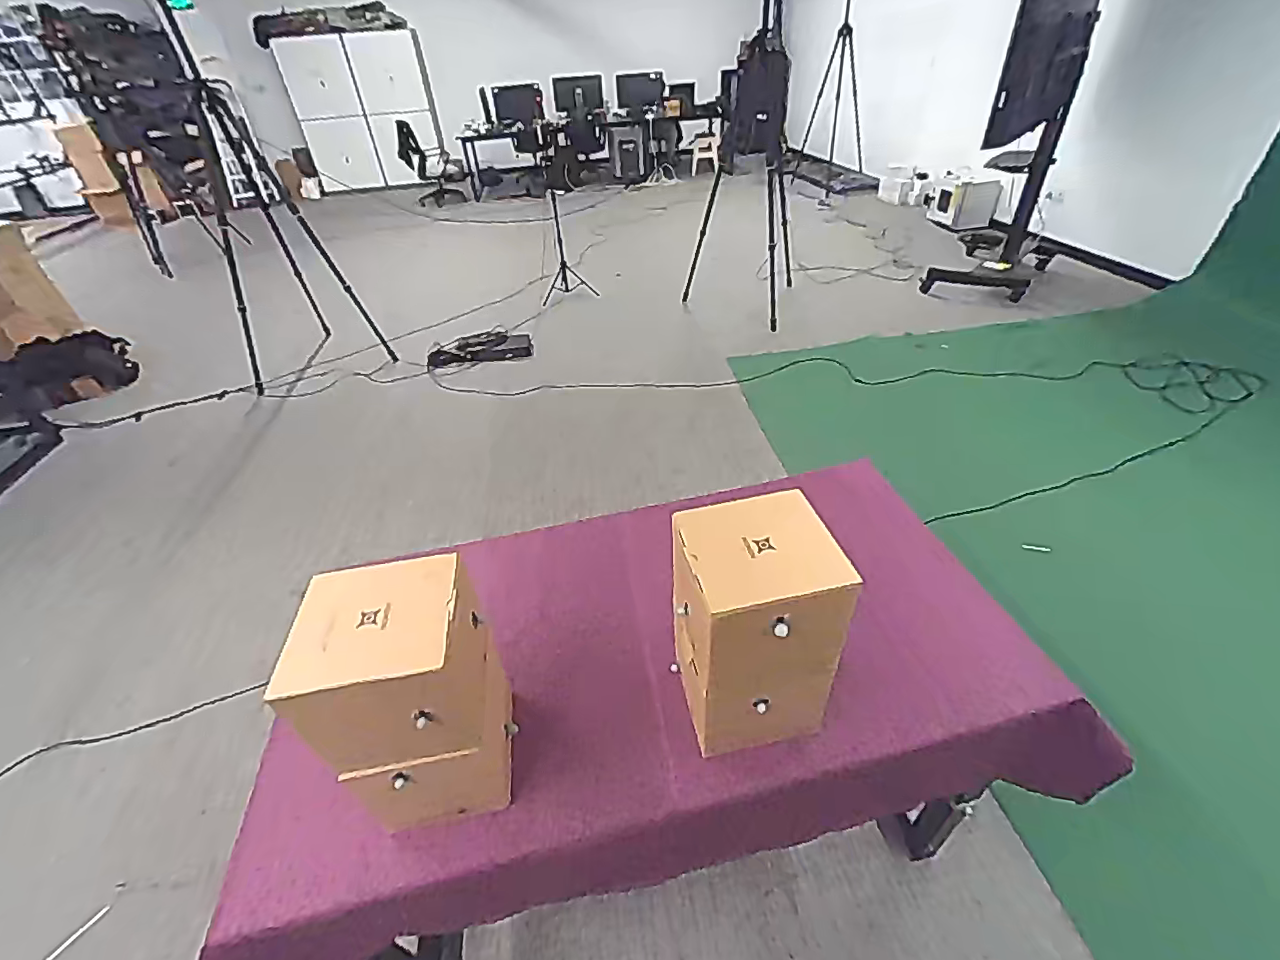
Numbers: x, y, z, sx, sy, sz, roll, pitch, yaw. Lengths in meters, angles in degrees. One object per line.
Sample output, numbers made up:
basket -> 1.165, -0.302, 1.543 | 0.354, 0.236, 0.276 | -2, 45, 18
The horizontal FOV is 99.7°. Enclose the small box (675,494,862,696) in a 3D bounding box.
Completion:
small box -> 0.148, 0.145, 0.686 | 0.179, 0.176, 0.168 | -11, 39, -6

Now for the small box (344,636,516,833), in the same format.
small box -> -0.272, 0.346, 0.745 | 0.168, 0.176, 0.179 | -10, 38, -5

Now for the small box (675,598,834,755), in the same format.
small box -> 0.156, 0.272, 0.788 | 0.179, 0.176, 0.168 | -10, 39, -6

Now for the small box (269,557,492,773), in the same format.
small box -> -0.283, 0.218, 0.643 | 0.179, 0.176, 0.168 | -9, 38, -4
